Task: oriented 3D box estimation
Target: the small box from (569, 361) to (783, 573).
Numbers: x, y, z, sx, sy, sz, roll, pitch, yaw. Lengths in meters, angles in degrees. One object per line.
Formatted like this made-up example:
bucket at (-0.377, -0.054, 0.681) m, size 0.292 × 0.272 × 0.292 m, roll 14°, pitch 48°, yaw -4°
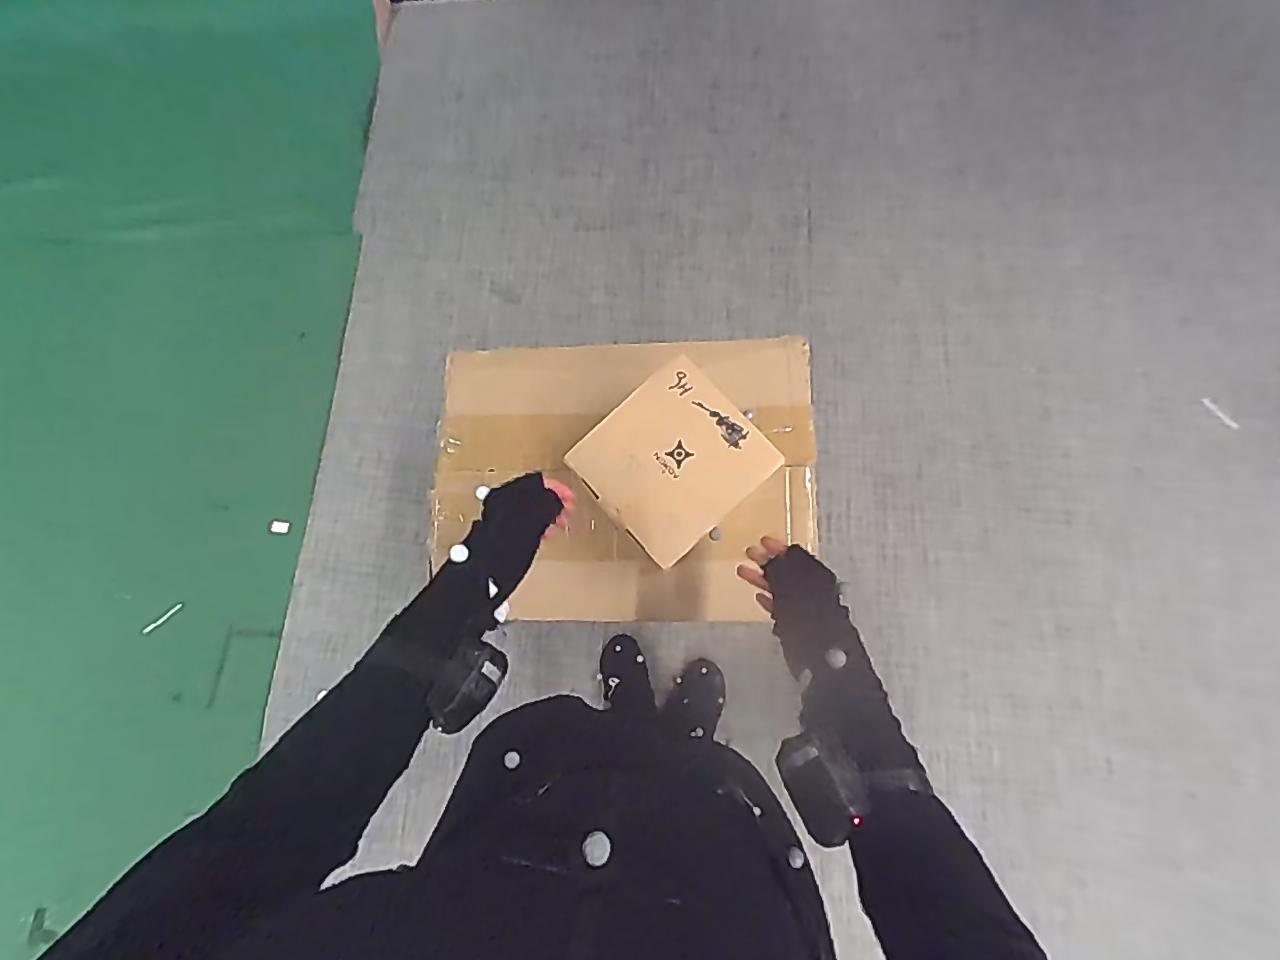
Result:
small box at (0.045, -0.005, 0.656) m, size 0.179 × 0.176 × 0.168 m, roll -42°, pitch 81°, yaw -1°
